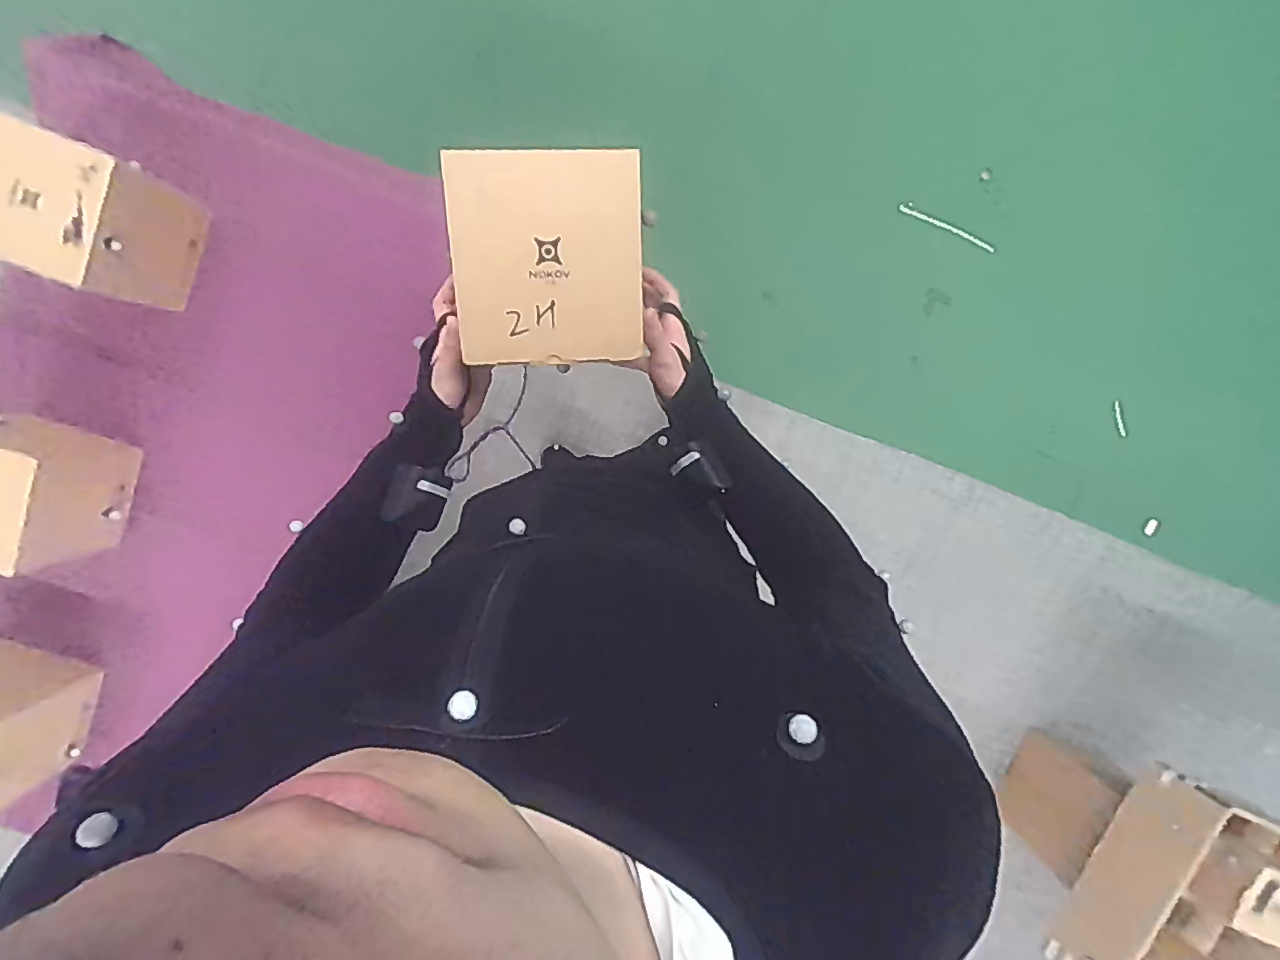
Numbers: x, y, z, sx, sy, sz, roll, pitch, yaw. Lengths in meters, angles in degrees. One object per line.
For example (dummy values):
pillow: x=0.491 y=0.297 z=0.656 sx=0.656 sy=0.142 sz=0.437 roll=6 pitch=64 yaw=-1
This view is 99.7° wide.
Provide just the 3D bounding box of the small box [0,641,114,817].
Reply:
small box: x=-0.965 y=0.367 z=0.815 sx=0.179 sy=0.176 sz=0.168 roll=19 pitch=95 yaw=-4

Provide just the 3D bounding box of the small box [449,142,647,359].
small box: x=-0.080 y=-0.214 z=0.543 sx=0.168 sy=0.176 sz=0.179 roll=-1 pitch=106 yaw=-2

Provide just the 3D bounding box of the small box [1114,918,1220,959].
small box: x=1.344 y=1.237 z=1.329 sx=0.179 sy=0.176 sz=0.168 roll=25 pitch=96 yaw=-4

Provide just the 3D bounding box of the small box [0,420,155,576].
small box: x=-0.871 y=0.015 z=0.778 sx=0.179 sy=0.176 sz=0.168 roll=18 pitch=97 yaw=-5

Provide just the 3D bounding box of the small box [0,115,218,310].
small box: x=-0.740 y=-0.349 z=0.738 sx=0.179 sy=0.176 sz=0.168 roll=20 pitch=97 yaw=-4
